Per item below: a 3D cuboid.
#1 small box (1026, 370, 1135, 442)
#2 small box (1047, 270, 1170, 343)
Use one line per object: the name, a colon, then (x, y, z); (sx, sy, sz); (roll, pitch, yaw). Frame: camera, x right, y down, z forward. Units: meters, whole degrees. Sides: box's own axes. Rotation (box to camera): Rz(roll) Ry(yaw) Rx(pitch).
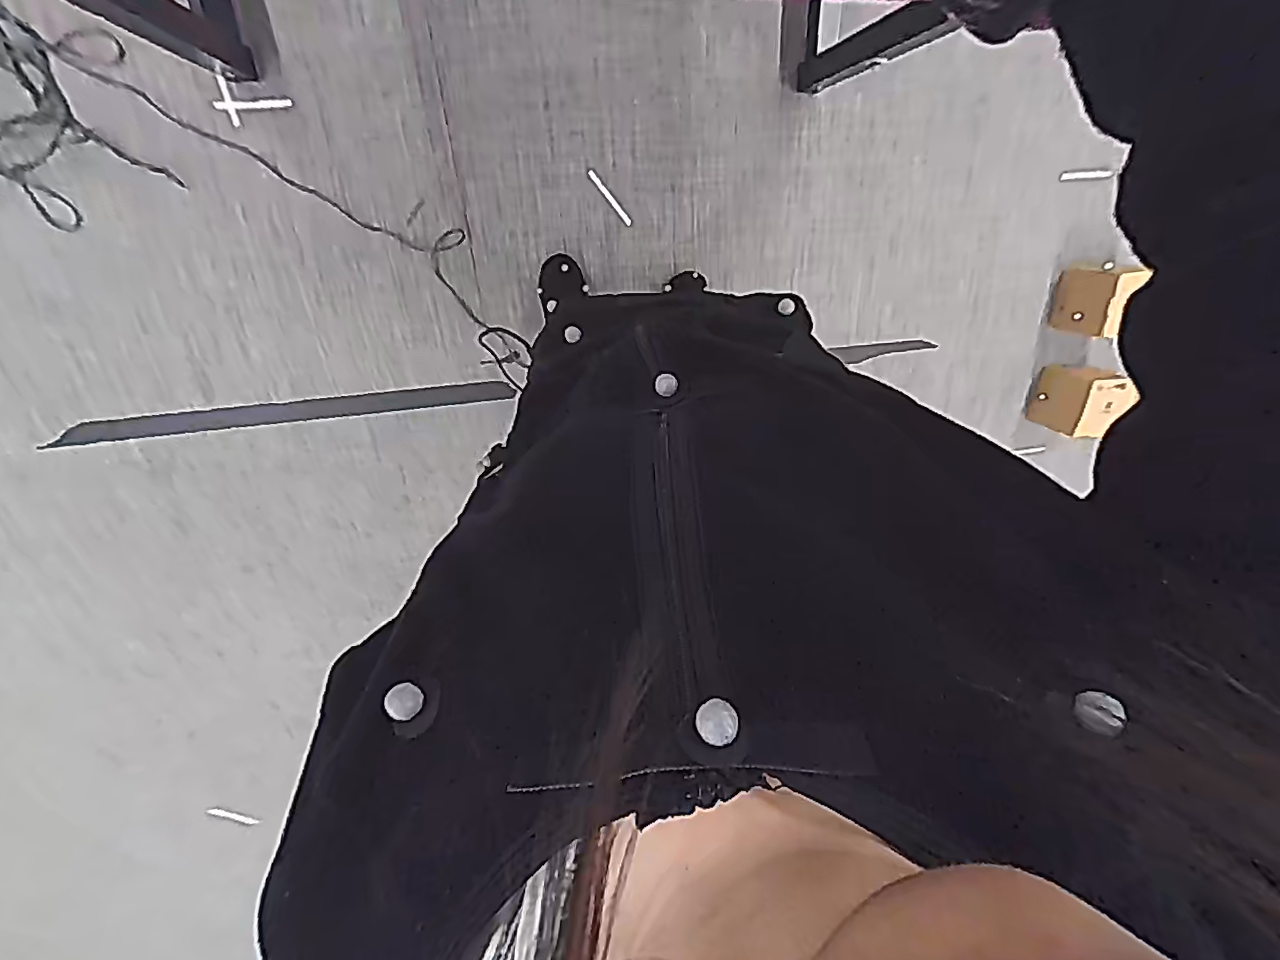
small box: (1.321, -0.227, 1.639); (0.168, 0.176, 0.179); (-4, 117, -11)
small box: (1.294, -0.487, 1.509); (0.179, 0.176, 0.168); (-9, 118, -10)
